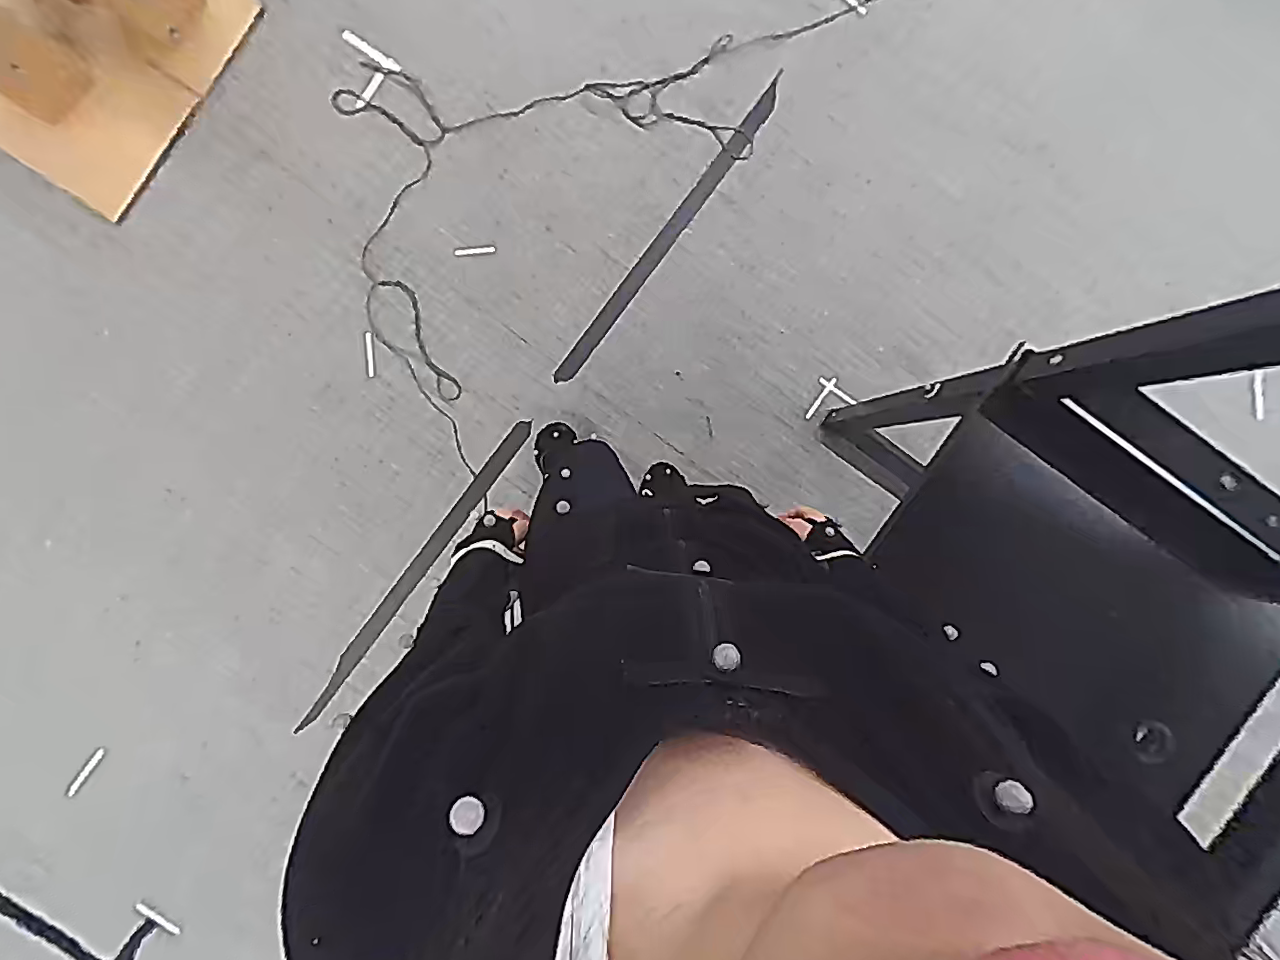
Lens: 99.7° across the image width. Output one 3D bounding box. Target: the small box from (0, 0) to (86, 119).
[{"bbox_3d":[-1.515,-1.032,1.302,0.168,0.176,0.179,38,91,-3],"label":"small box"}]
